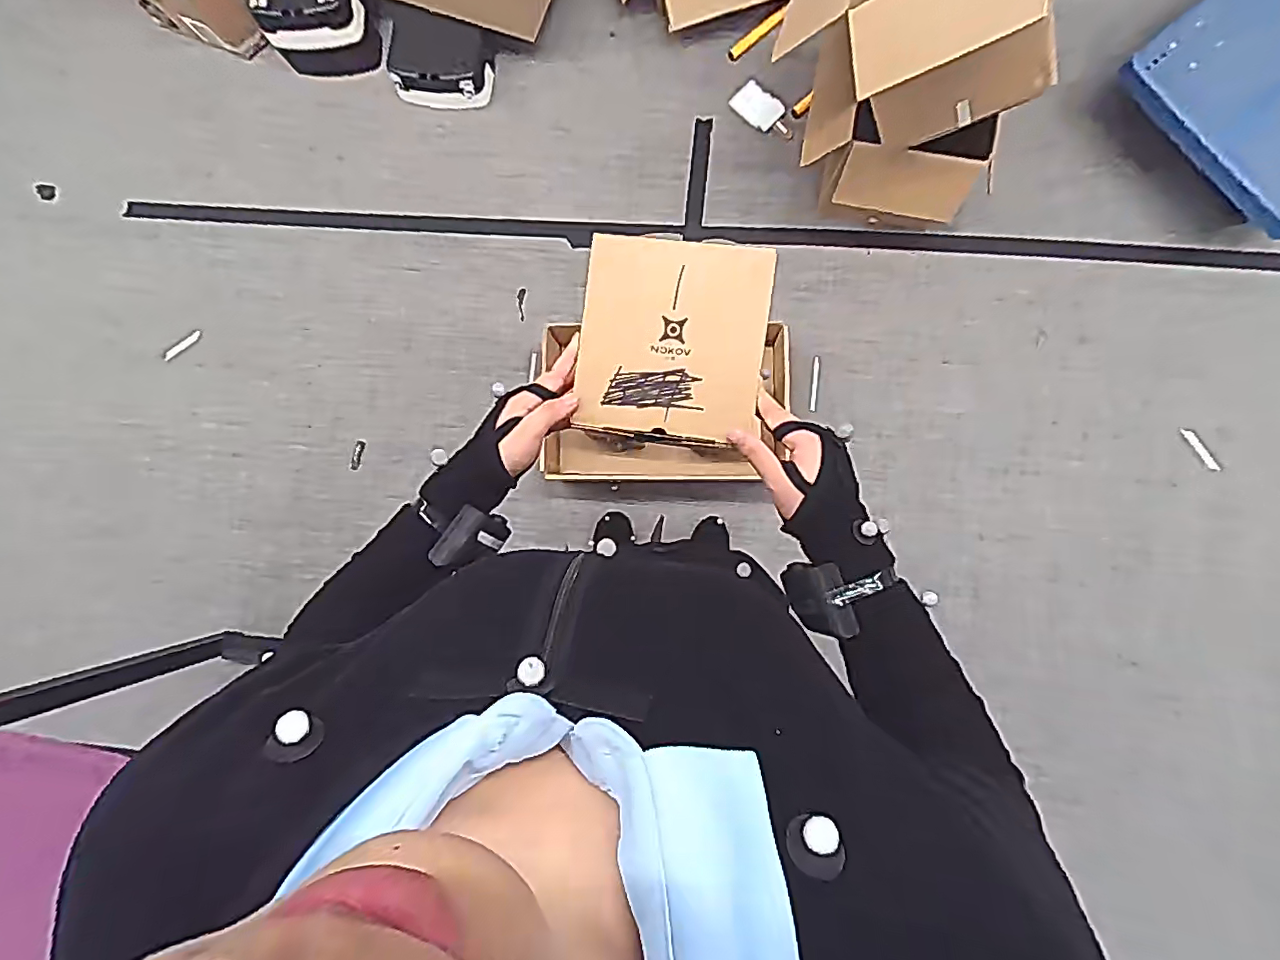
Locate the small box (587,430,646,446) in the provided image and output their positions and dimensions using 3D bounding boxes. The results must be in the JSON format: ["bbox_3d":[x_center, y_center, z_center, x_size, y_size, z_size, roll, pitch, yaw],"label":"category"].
[{"bbox_3d":[-0.052,-0.196,1.403,0.168,0.176,0.179,11,87,3],"label":"small box"}]

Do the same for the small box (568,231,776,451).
[{"bbox_3d":[0.035,-0.126,0.553,0.168,0.176,0.179,8,92,6],"label":"small box"}]
